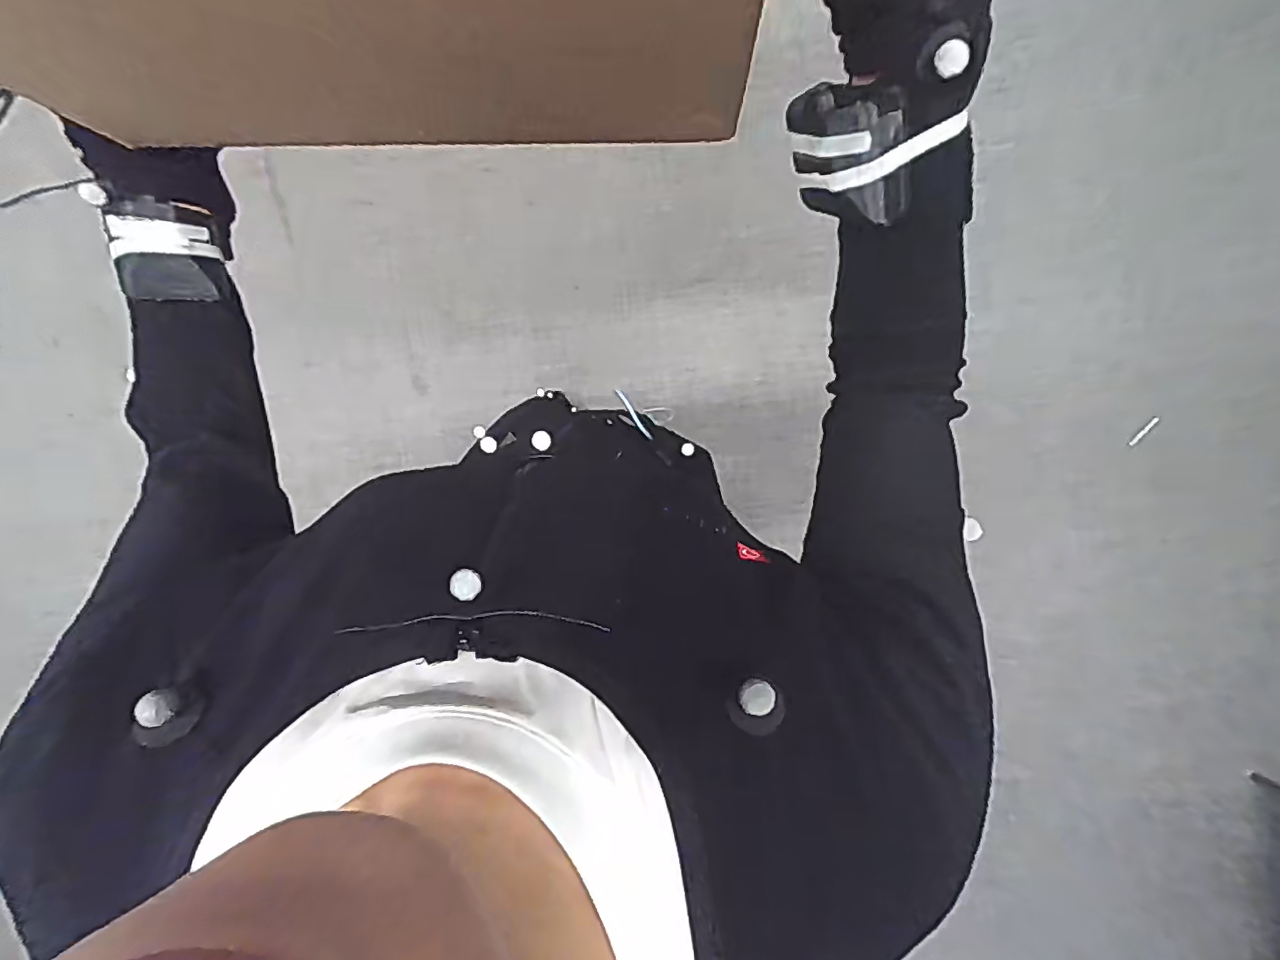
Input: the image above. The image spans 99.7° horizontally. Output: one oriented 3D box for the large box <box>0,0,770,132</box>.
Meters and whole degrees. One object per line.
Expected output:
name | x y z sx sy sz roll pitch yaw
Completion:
large box | -0.140 -0.357 0.181 0.408 0.320 0.320 2 98 3
